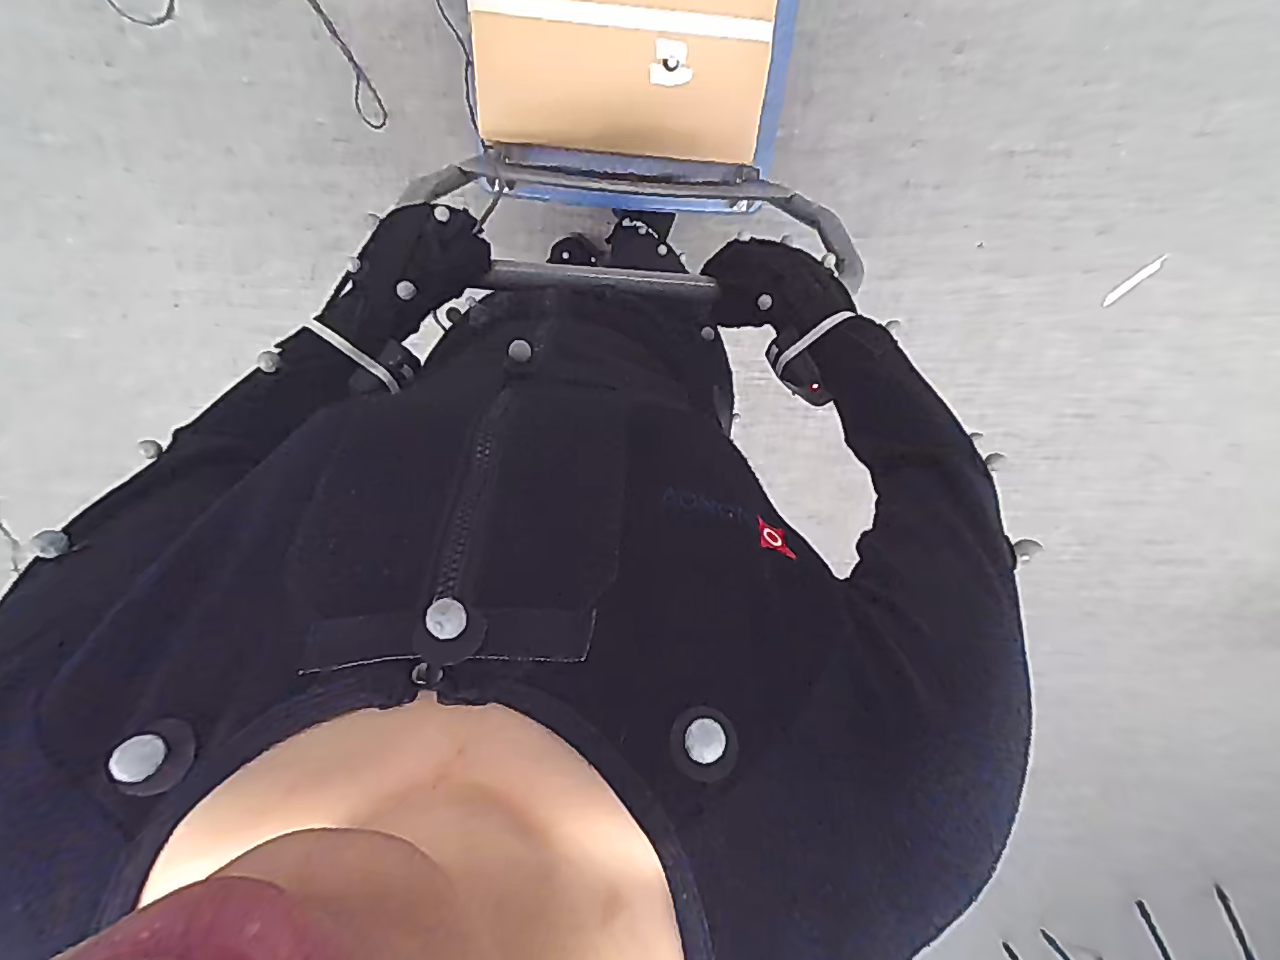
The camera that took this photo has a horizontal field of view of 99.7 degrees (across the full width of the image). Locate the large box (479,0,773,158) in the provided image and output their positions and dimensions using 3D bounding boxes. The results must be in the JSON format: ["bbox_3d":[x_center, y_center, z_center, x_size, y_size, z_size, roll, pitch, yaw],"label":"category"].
[{"bbox_3d":[-0.027,-0.706,0.860,0.408,0.320,0.320,2,121,-5],"label":"large box"}]
